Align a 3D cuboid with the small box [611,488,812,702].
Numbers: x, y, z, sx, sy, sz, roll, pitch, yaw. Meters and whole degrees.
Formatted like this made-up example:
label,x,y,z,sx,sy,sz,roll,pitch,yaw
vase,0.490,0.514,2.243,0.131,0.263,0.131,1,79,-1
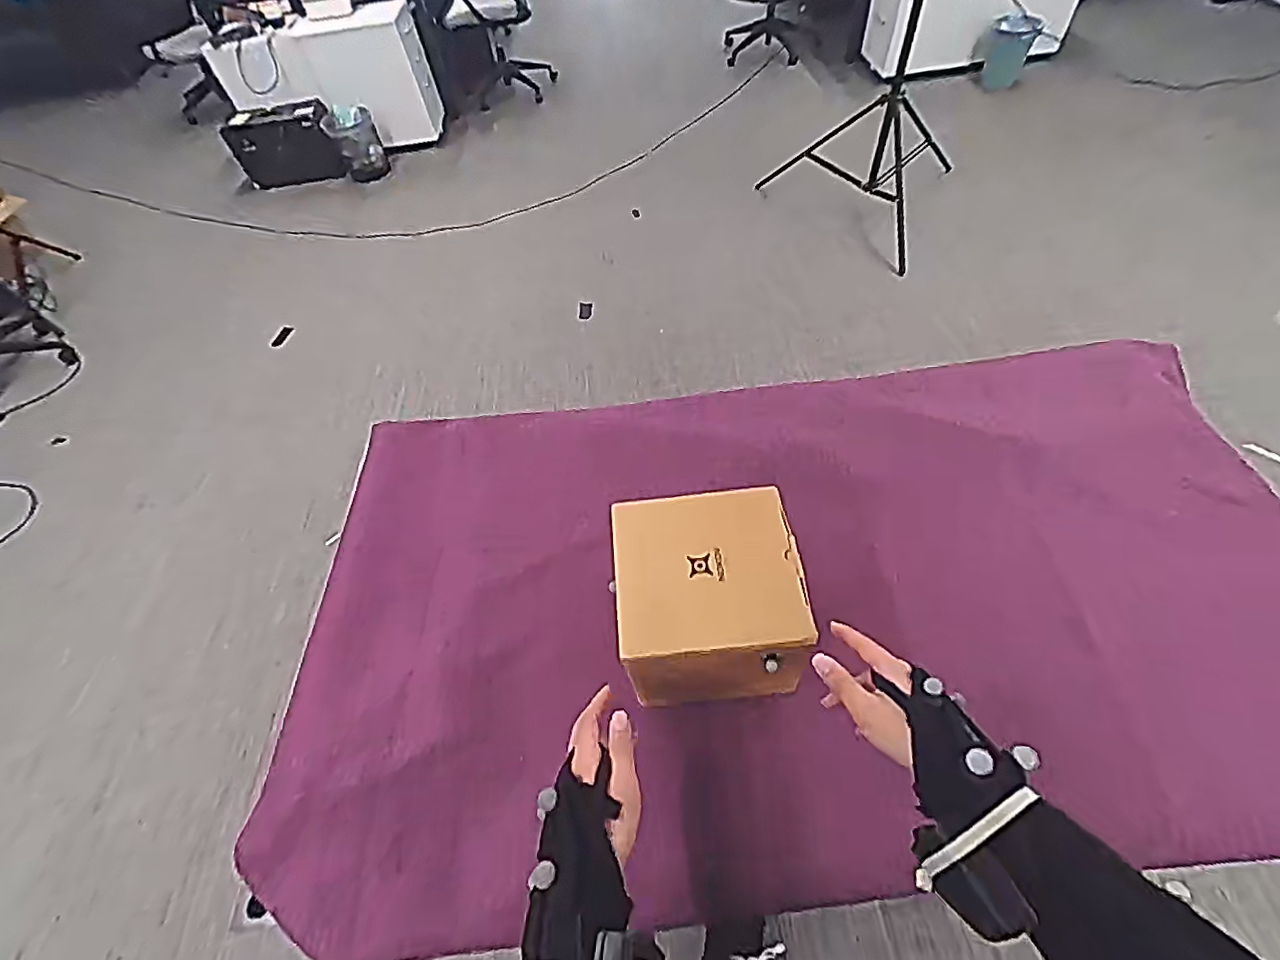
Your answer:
label,x,y,z,sx,sy,sz,roll,pitch,yaw
small box,0.069,0.130,0.584,0.179,0.176,0.168,-6,53,1
